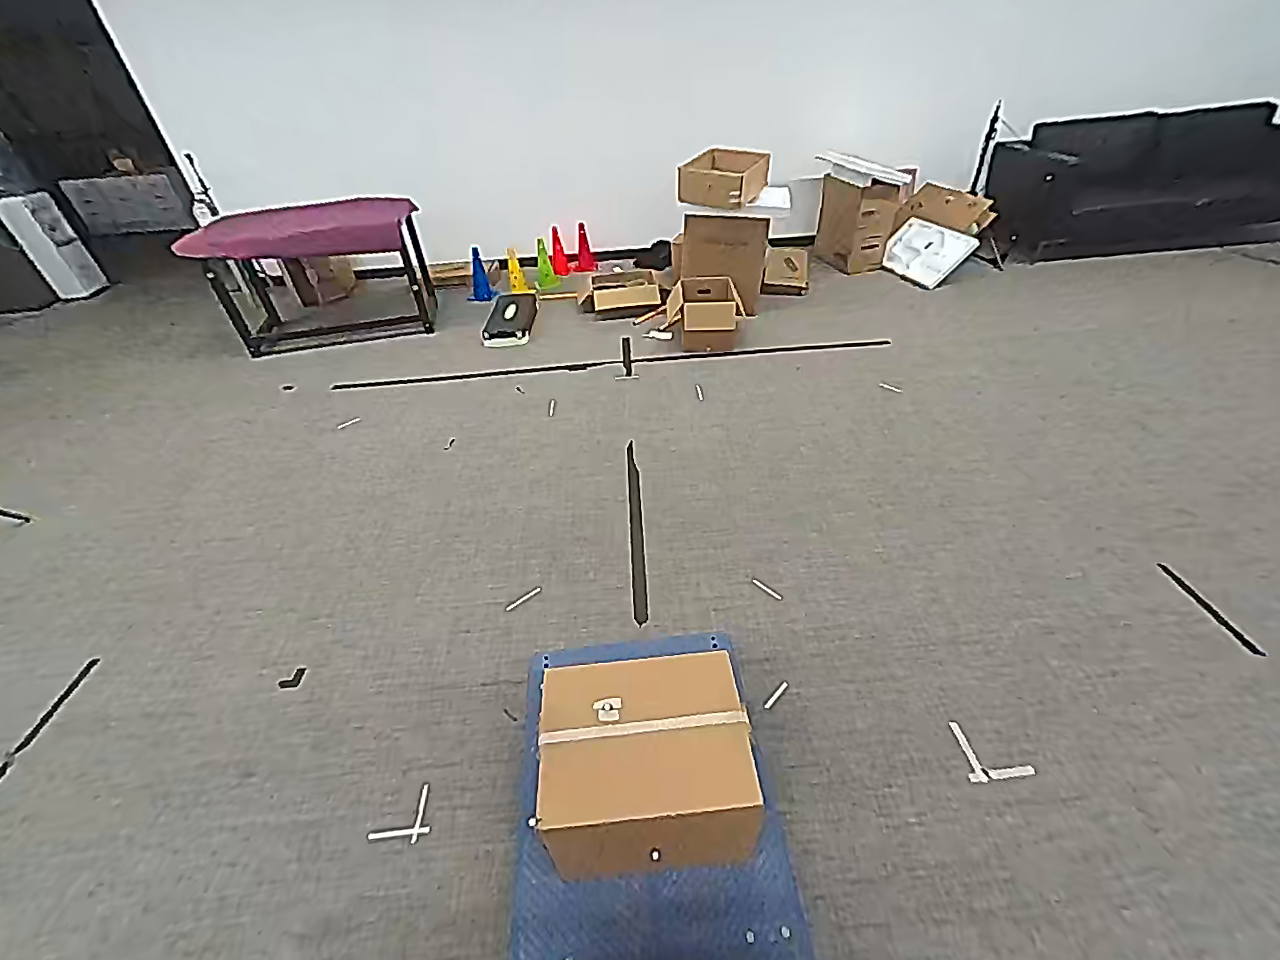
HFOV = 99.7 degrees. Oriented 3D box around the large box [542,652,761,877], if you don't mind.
[{"bbox_3d":[0.020,0.615,1.175,0.408,0.320,0.320,-7,39,-1],"label":"large box"}]
